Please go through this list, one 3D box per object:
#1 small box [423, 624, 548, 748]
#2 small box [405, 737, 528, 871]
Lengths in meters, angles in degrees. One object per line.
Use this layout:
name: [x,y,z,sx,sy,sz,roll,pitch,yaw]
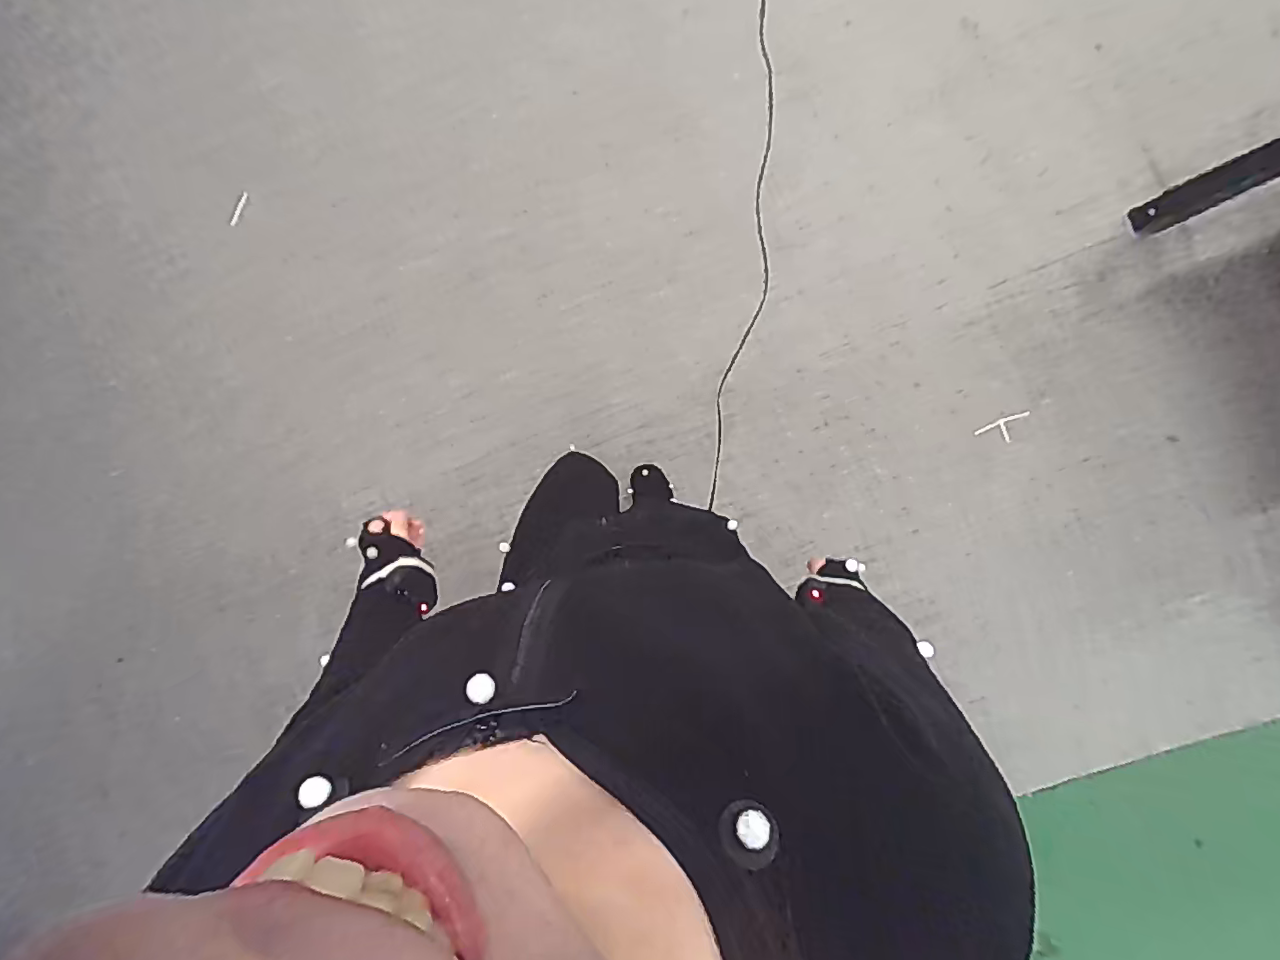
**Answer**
small box: [-0.321,0.432,1.155,0.179,0.176,0.168,-20,92,7]
small box: [-0.372,0.697,1.189,0.168,0.176,0.179,-23,94,8]
